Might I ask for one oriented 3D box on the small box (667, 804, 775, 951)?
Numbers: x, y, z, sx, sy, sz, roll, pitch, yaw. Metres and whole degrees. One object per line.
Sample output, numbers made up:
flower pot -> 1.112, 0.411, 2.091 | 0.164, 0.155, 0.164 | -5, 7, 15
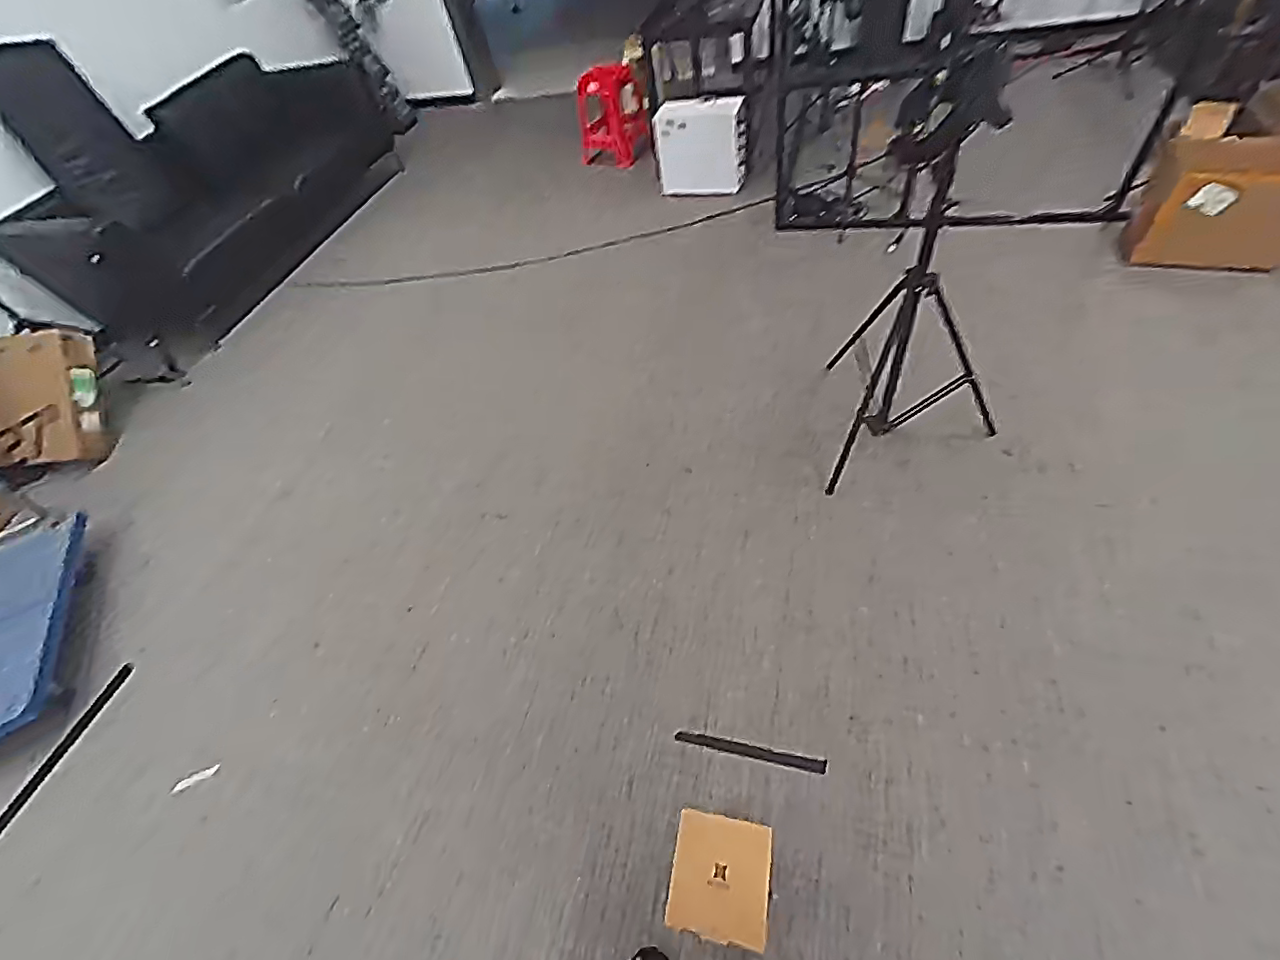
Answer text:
small box -> 0.153, 0.715, 0.982 | 0.168, 0.176, 0.179 | 4, 54, 15
